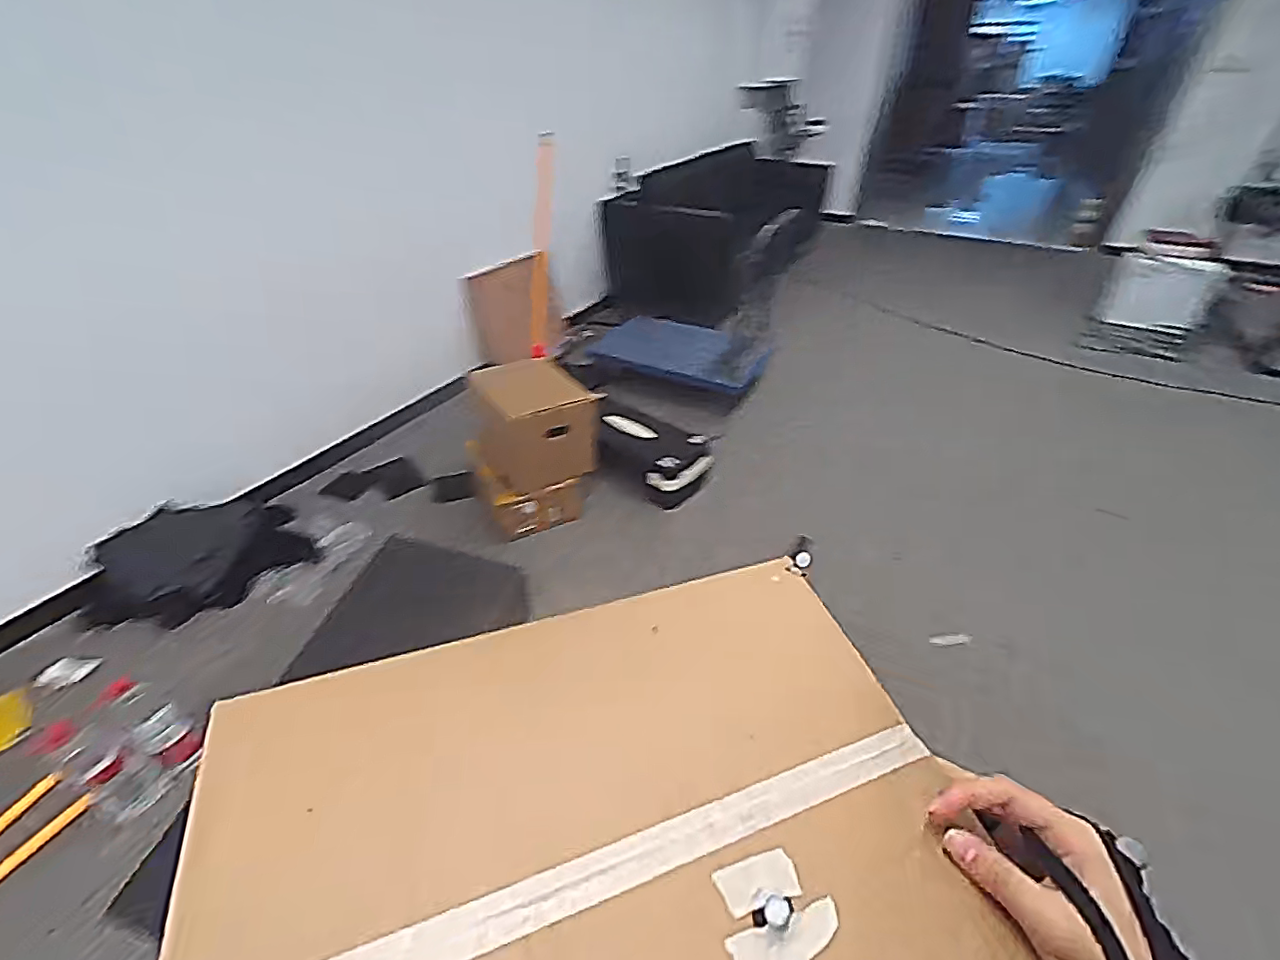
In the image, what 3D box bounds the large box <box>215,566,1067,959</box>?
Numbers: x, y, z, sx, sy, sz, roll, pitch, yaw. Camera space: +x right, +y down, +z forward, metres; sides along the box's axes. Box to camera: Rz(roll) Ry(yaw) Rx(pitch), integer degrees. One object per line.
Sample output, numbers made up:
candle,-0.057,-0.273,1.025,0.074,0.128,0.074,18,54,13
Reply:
large box,-0.019,0.314,0.393,0.408,0.320,0.320,-9,46,-18
